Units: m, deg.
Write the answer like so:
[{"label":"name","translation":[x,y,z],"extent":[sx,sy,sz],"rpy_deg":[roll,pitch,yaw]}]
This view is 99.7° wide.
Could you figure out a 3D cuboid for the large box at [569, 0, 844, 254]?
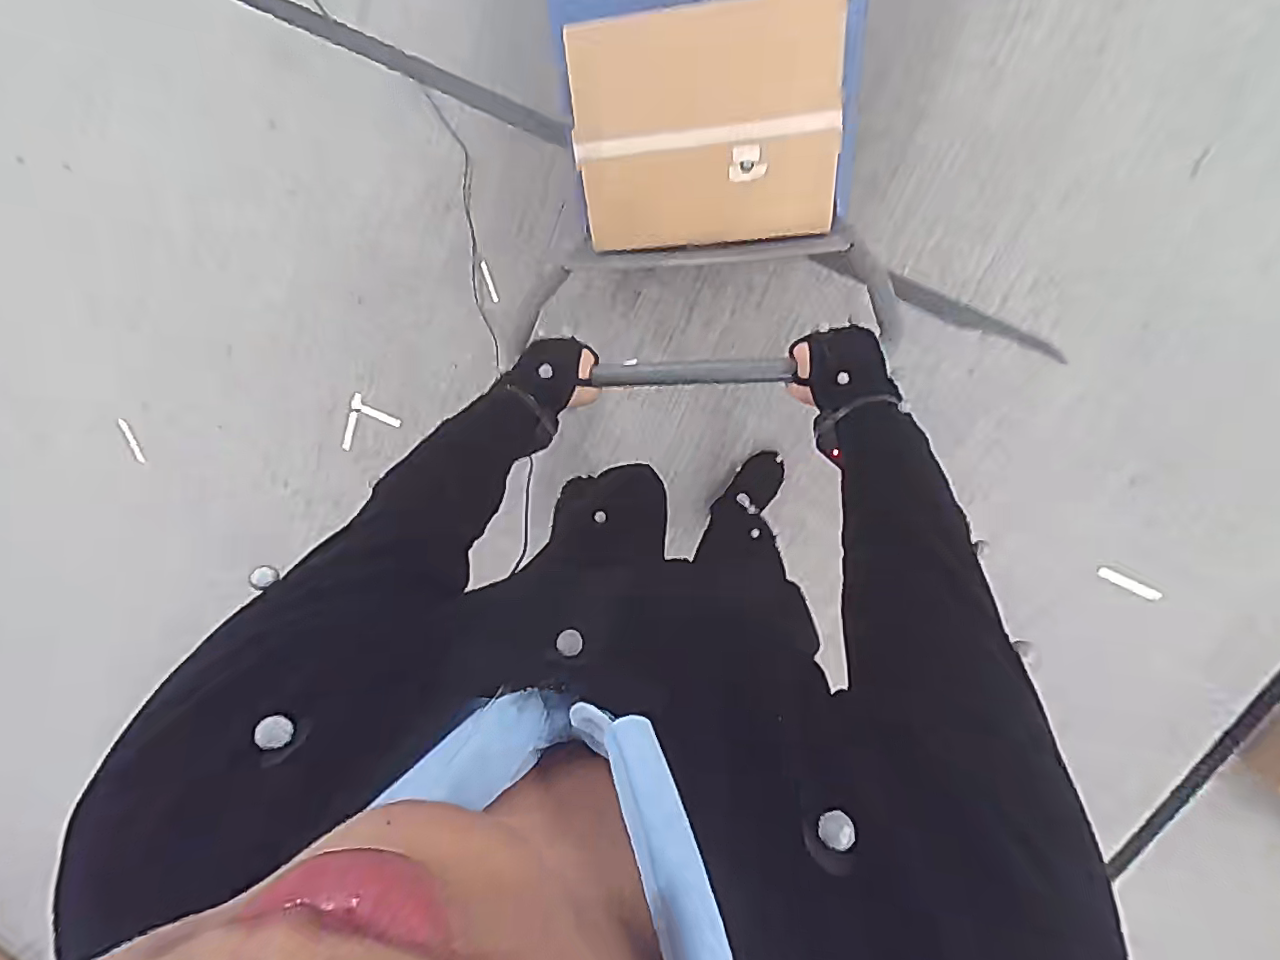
[{"label":"large box","translation":[0.123,-0.620,0.981],"extent":[0.408,0.320,0.320],"rpy_deg":[-2,122,10]}]
